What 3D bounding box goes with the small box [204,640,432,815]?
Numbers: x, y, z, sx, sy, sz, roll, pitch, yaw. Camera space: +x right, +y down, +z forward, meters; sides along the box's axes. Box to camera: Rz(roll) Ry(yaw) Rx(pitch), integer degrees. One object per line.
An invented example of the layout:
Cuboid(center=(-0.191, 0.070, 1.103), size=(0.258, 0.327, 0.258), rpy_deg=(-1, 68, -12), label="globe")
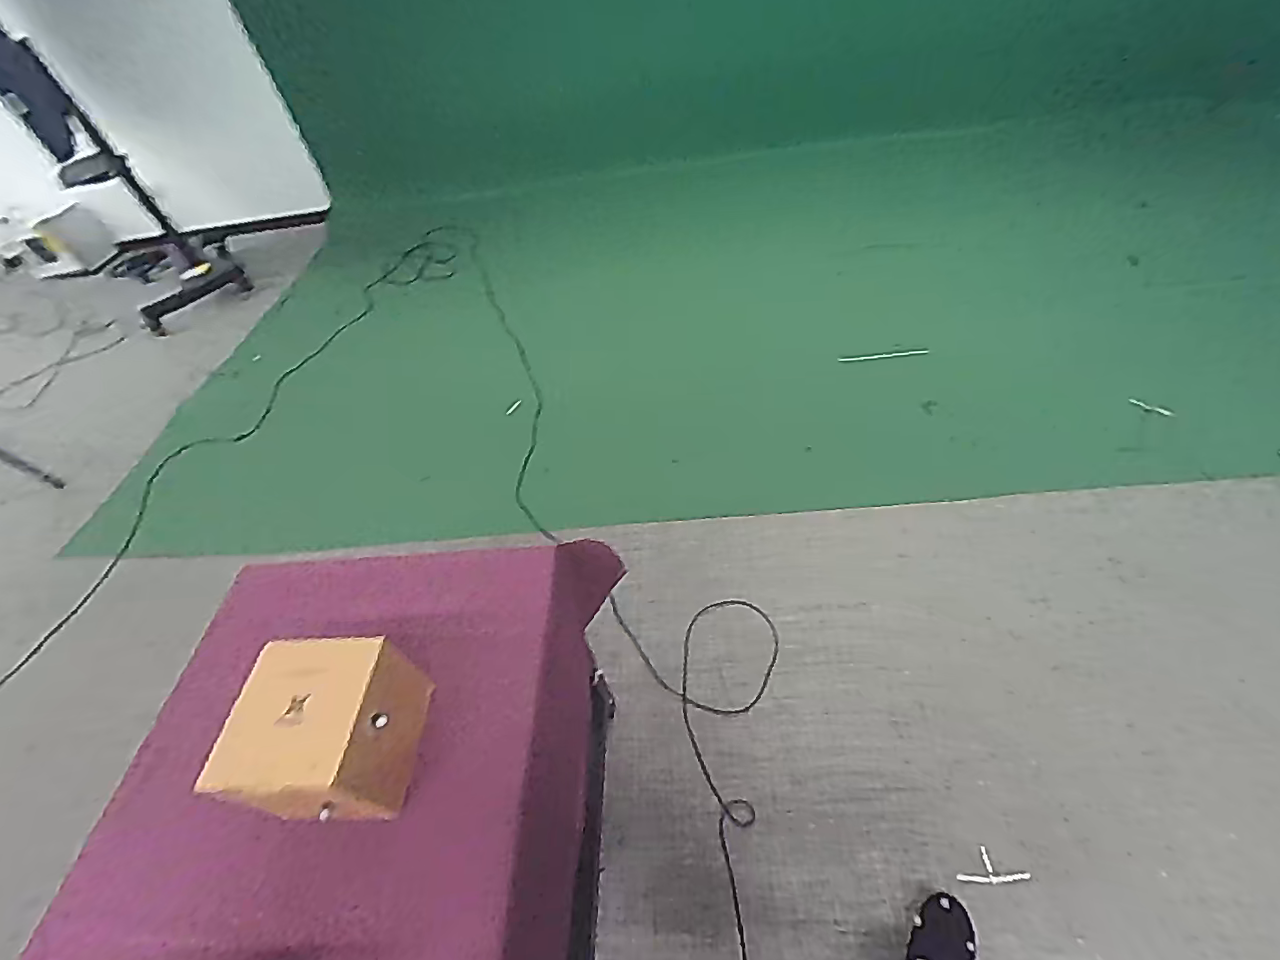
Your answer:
Cuboid(center=(-0.399, 0.329, 0.712), size=(0.168, 0.176, 0.179), rpy_deg=(-4, 49, 6), label="small box")
